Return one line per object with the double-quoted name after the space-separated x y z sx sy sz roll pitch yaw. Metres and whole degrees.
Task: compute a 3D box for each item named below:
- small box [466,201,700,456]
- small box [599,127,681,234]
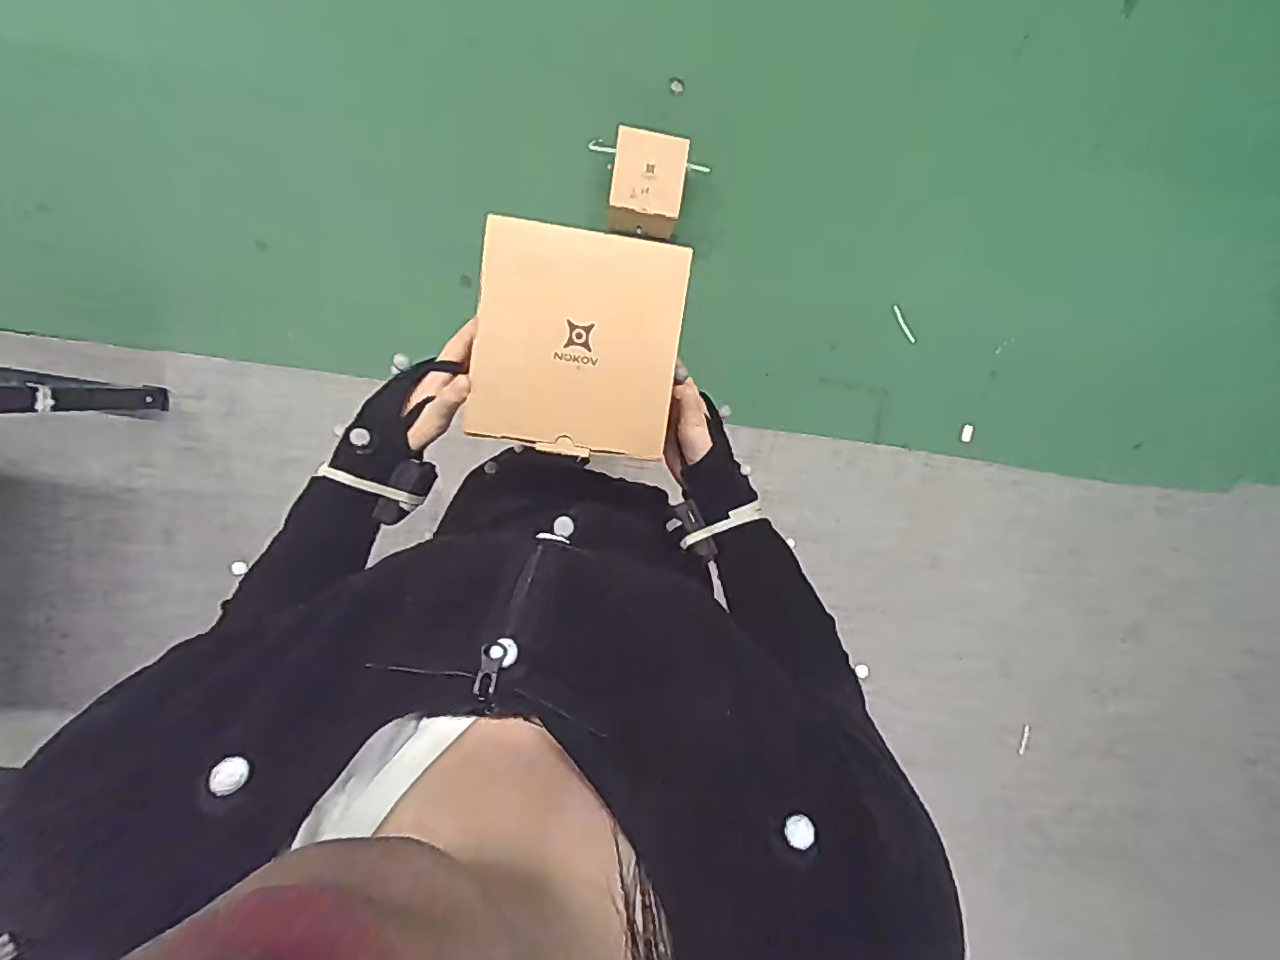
-0.053 -0.123 0.504 0.168 0.176 0.179 8 95 -7 "small box"
-0.007 -0.707 1.308 0.168 0.176 0.179 8 97 -7 "small box"
